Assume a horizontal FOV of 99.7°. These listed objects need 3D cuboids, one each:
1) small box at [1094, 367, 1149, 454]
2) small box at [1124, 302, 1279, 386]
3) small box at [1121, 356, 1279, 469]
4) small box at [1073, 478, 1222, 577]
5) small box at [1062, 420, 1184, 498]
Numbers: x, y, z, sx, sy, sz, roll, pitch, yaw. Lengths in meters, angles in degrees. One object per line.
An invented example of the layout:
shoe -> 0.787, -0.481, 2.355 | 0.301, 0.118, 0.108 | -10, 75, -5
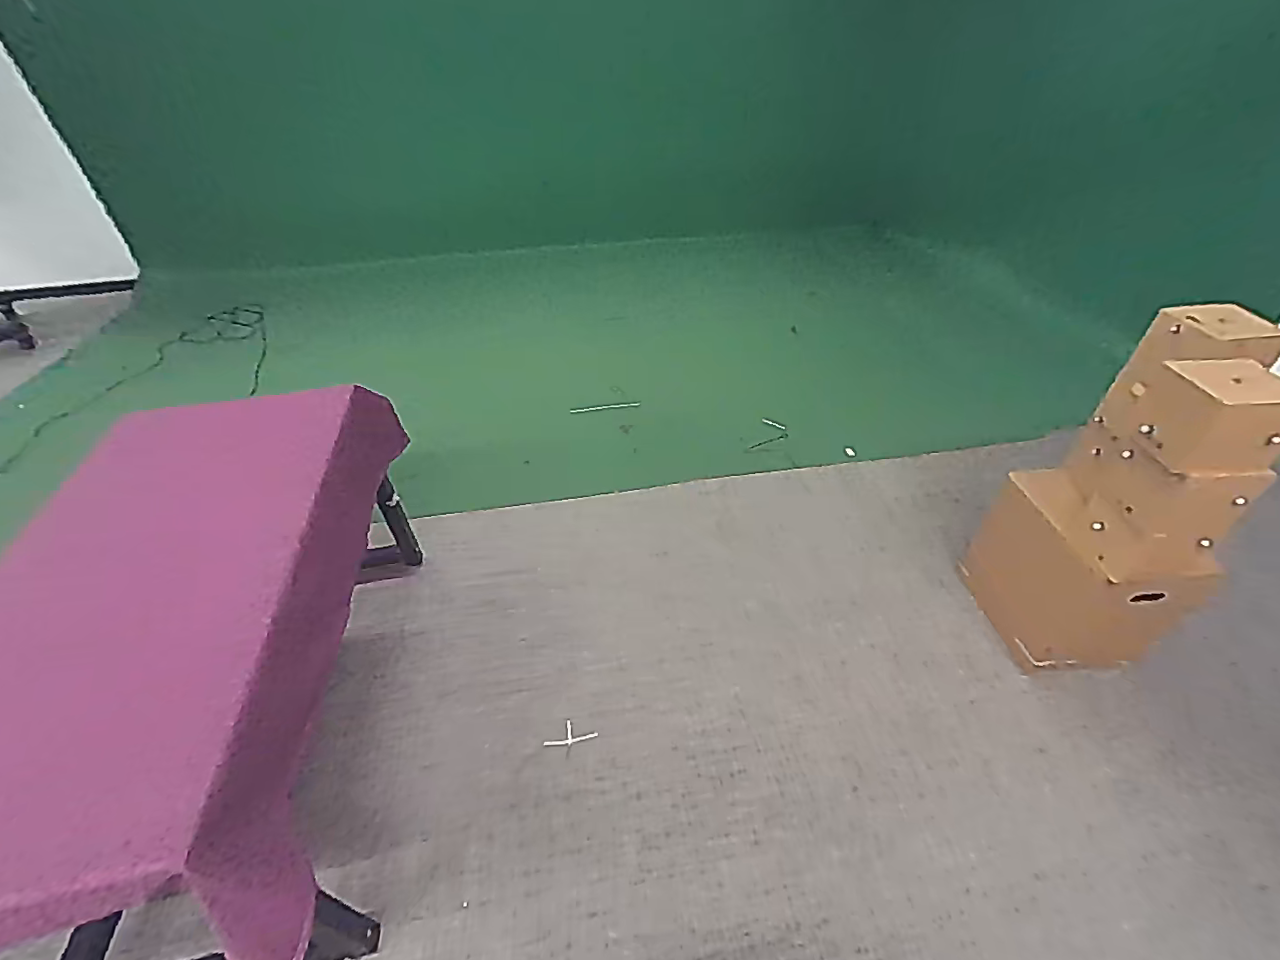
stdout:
small box -> 1.311, -0.174, 1.373 | 0.179, 0.176, 0.168 | 2, 41, 3
small box -> 1.313, -0.302, 1.268 | 0.179, 0.176, 0.168 | -3, 41, -2
small box -> 1.145, -0.135, 1.088 | 0.179, 0.176, 0.168 | -1, 41, 2
small box -> 1.192, 0.117, 1.295 | 0.179, 0.176, 0.168 | -6, 41, -4
small box -> 1.314, -0.048, 1.478 | 0.168, 0.176, 0.179 | -1, 42, 2
